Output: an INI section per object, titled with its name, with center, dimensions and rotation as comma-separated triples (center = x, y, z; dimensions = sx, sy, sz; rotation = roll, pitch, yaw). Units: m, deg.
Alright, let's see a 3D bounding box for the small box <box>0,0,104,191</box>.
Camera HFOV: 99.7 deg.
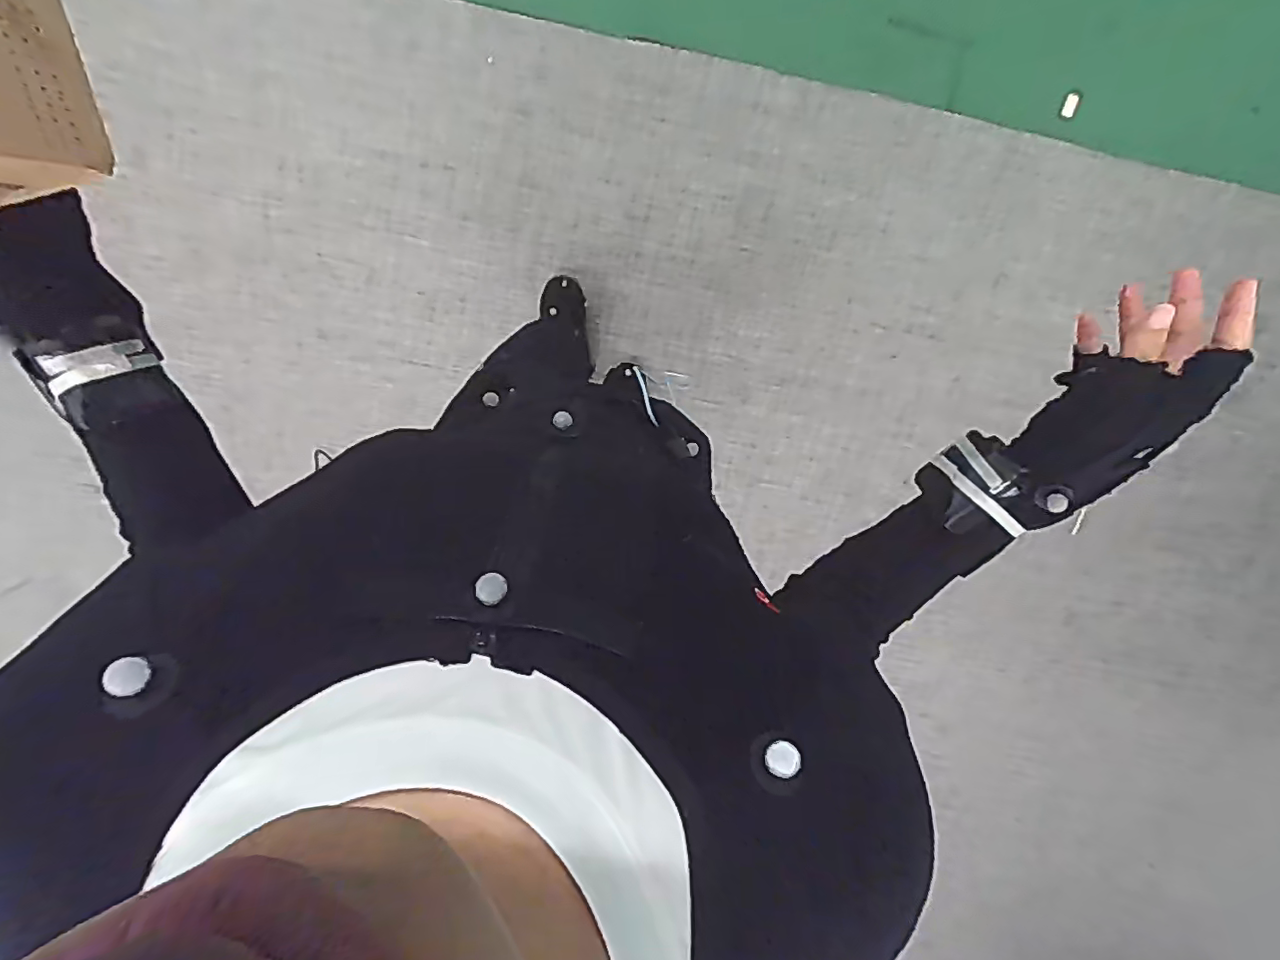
[small box]
center = -0.369, -0.217, 0.198
dimensions = 0.168, 0.176, 0.179
rotation = 3, 110, 19
